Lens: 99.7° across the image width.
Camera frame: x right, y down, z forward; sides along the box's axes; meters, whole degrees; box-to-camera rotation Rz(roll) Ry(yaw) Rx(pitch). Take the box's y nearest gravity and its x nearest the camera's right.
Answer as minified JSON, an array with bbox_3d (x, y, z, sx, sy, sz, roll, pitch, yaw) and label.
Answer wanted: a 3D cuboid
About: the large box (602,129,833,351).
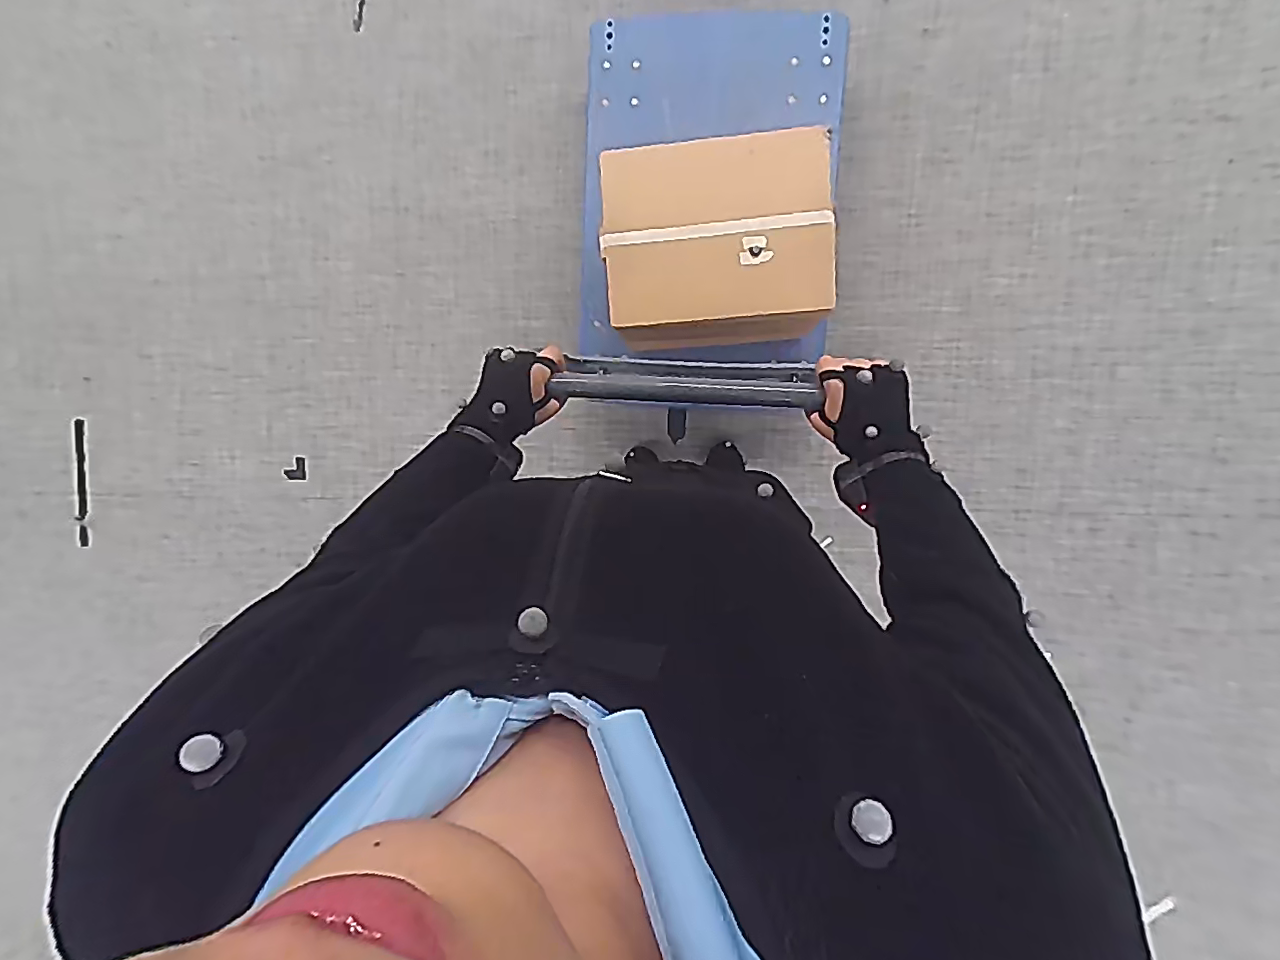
[{"bbox_3d":[0.151,-0.463,1.125,0.408,0.320,0.320,-4,95,5],"label":"large box"}]
